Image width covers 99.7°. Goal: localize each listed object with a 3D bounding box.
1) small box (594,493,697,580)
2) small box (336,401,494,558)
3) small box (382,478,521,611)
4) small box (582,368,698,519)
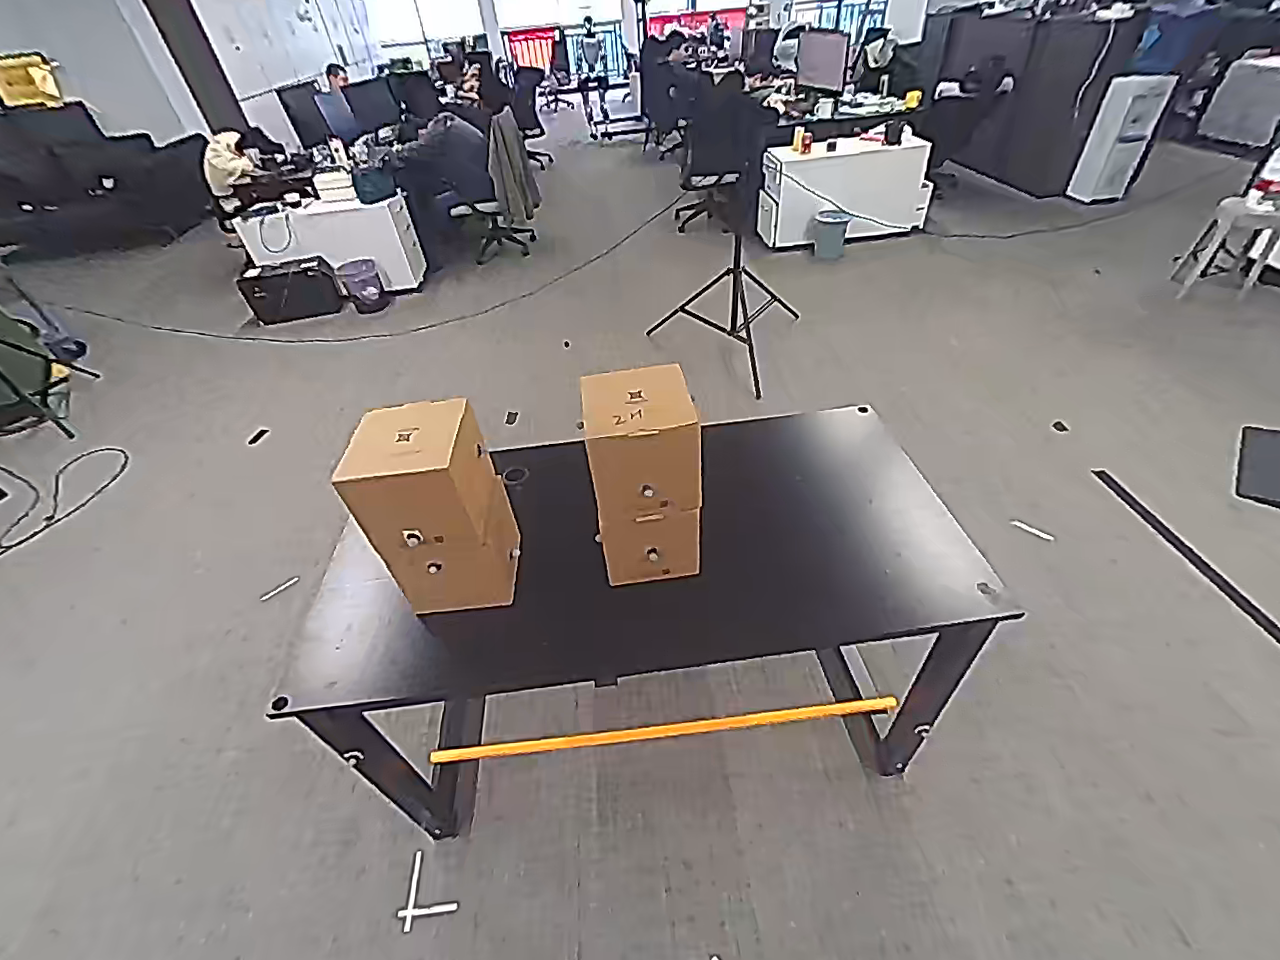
[{"bbox_3d":[0.009,0.067,0.990,0.168,0.176,0.179,-8,42,-2],"label":"small box"},{"bbox_3d":[-0.340,-0.001,0.860,0.168,0.176,0.179,-8,43,0],"label":"small box"},{"bbox_3d":[-0.325,0.118,0.969,0.179,0.176,0.168,-5,42,-1],"label":"small box"},{"bbox_3d":[-0.002,-0.060,0.883,0.168,0.176,0.179,-9,42,-2],"label":"small box"}]
